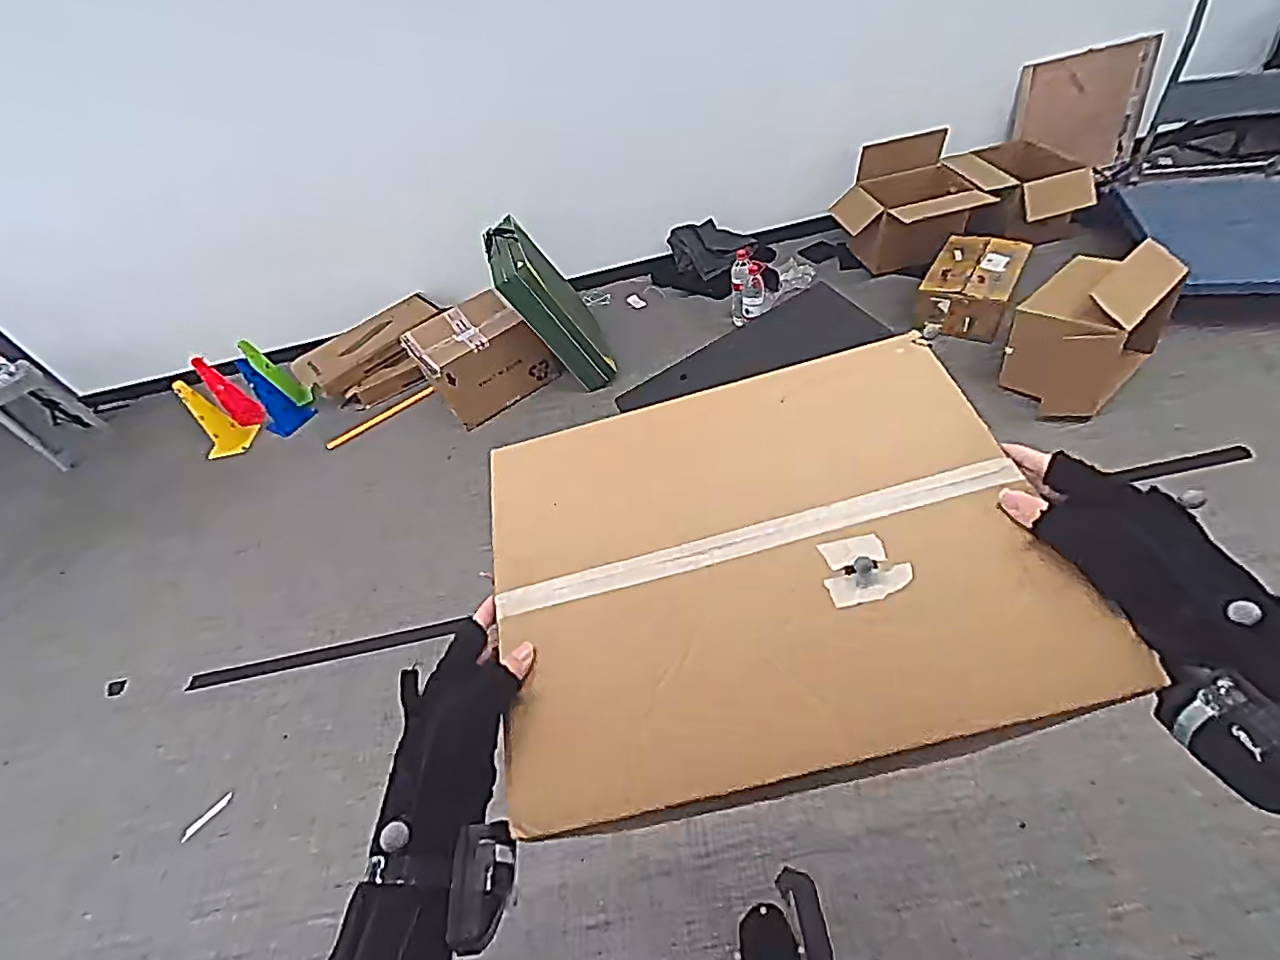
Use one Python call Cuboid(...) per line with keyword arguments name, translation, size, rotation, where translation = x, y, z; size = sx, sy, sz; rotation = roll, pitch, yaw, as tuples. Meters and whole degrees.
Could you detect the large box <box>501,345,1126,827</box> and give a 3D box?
Cuboid(name="large box", translation=(0.112, 0.128, 0.550), size=(0.408, 0.320, 0.320), rotation=(-15, 57, 2))
